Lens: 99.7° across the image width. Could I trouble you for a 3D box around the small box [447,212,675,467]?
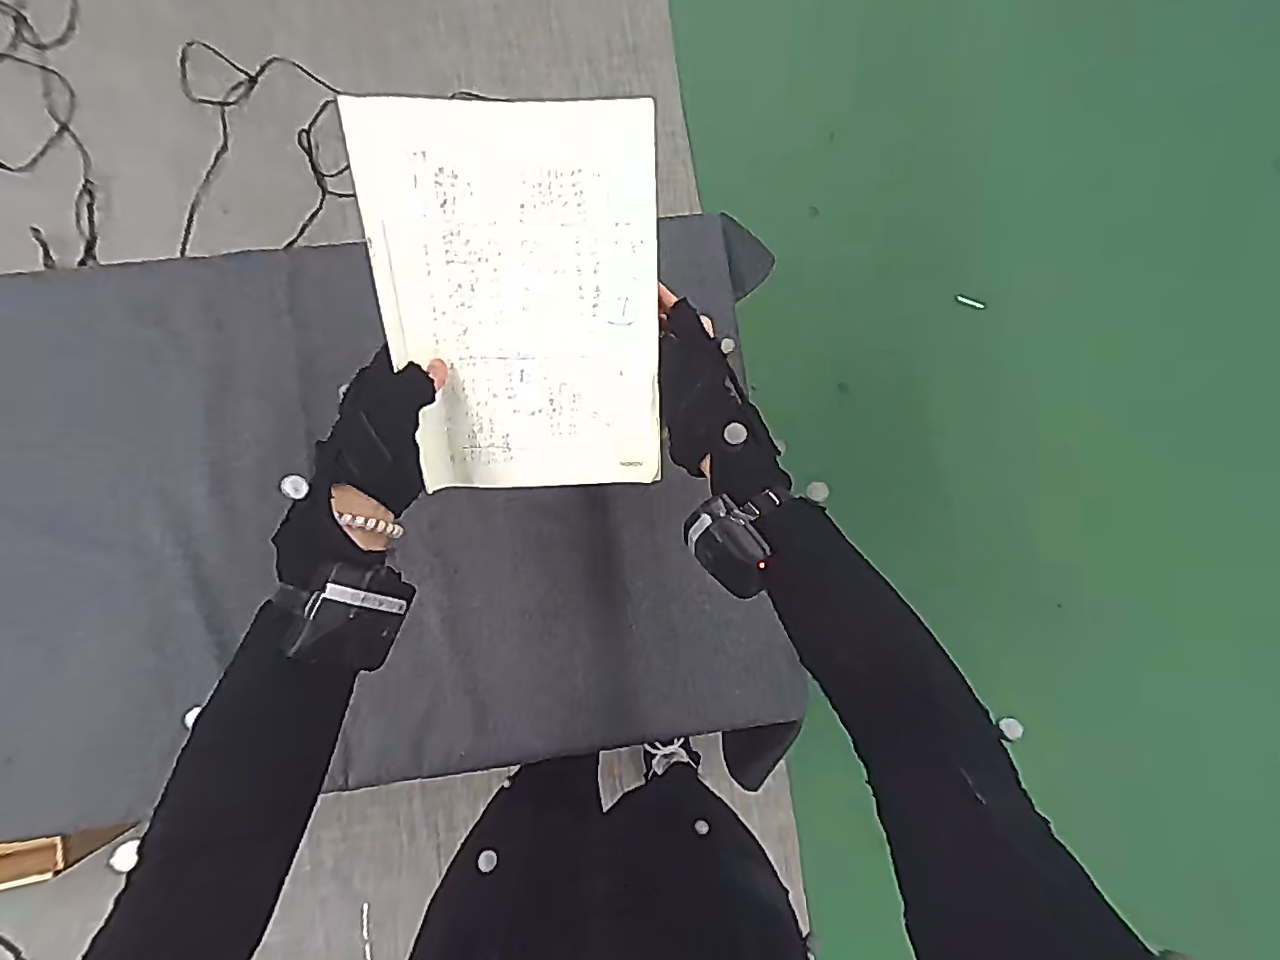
[{"bbox_3d":[-0.067,-0.120,0.524,0.168,0.176,0.179,-11,85,-1],"label":"small box"}]
